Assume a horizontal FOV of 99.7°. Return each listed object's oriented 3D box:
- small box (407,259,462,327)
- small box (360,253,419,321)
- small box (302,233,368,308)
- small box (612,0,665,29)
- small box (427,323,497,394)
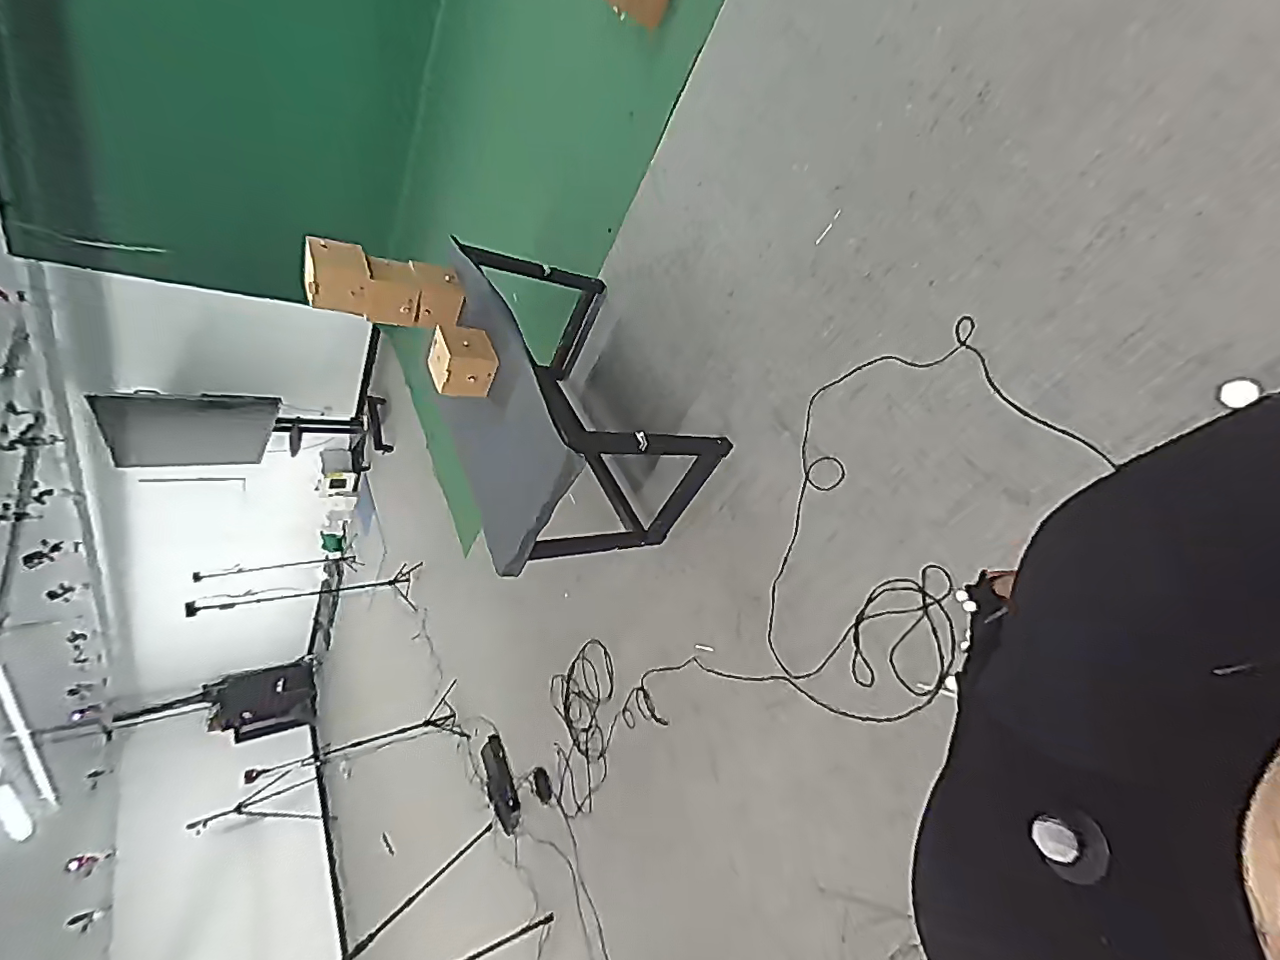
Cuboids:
[{"bbox_3d":[-0.795,-0.706,2.061,0.179,0.176,0.168,-52,54,39],"label":"small box"},{"bbox_3d":[-0.917,-0.690,1.955,0.179,0.176,0.168,55,133,32],"label":"small box"},{"bbox_3d":[-1.043,-0.706,1.846,0.179,0.176,0.168,60,136,29],"label":"small box"},{"bbox_3d":[-0.001,-2.015,2.217,0.179,0.176,0.168,-53,54,37],"label":"small box"},{"bbox_3d":[-0.610,-0.413,1.854,0.168,0.176,0.179,-56,52,36],"label":"small box"}]
